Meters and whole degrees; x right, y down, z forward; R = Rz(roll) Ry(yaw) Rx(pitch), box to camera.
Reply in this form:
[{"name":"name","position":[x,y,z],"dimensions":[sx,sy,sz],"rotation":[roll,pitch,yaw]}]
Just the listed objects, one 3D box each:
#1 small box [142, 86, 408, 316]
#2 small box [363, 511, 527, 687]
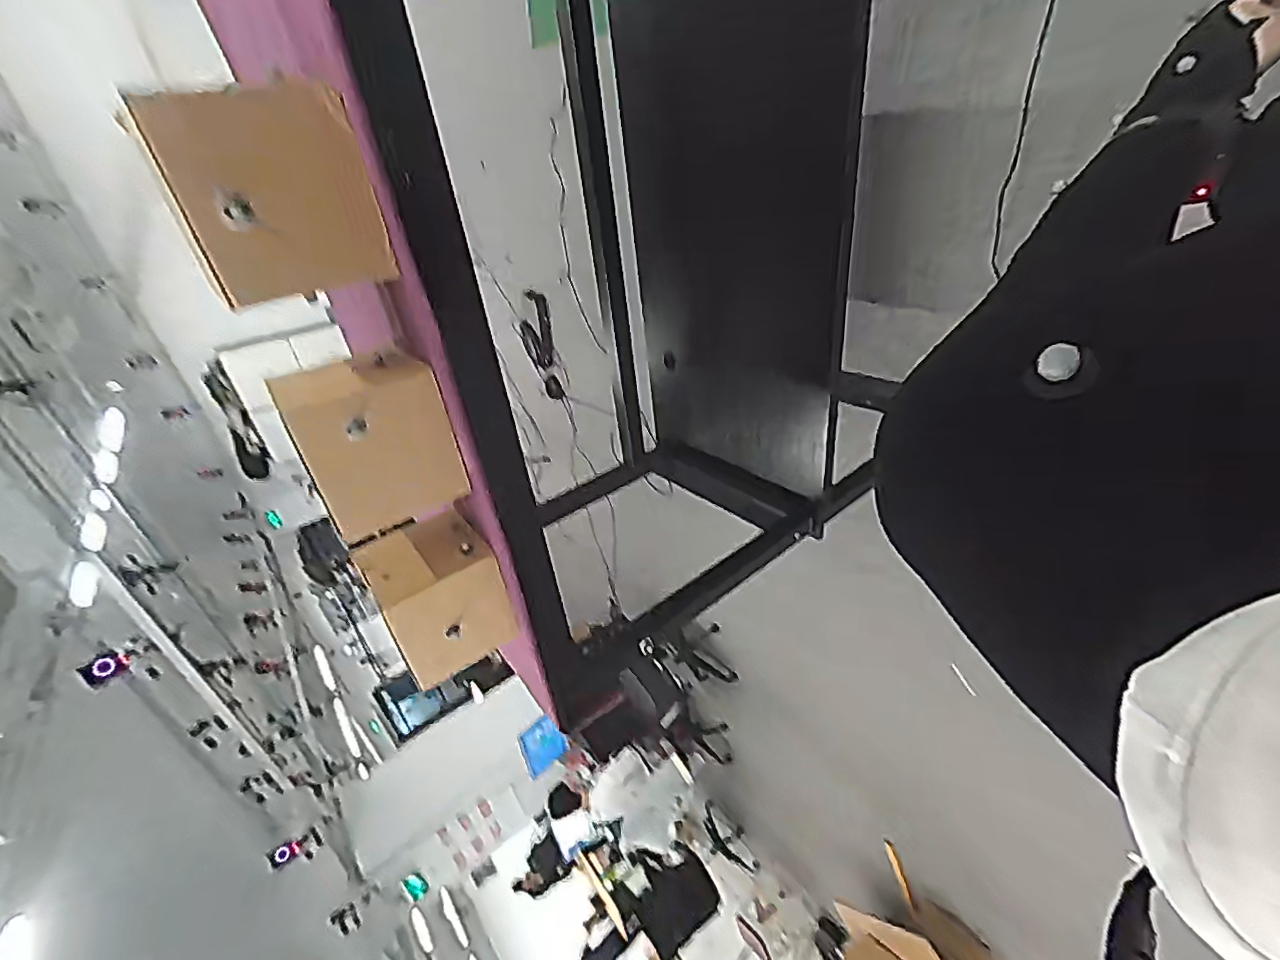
[{"name":"small box","position":[-0.369,-0.292,0.566],"dimensions":[0.168,0.176,0.179],"rotation":[29,138,43]},{"name":"small box","position":[-0.301,0.176,0.853],"dimensions":[0.168,0.176,0.179],"rotation":[31,139,45]}]
